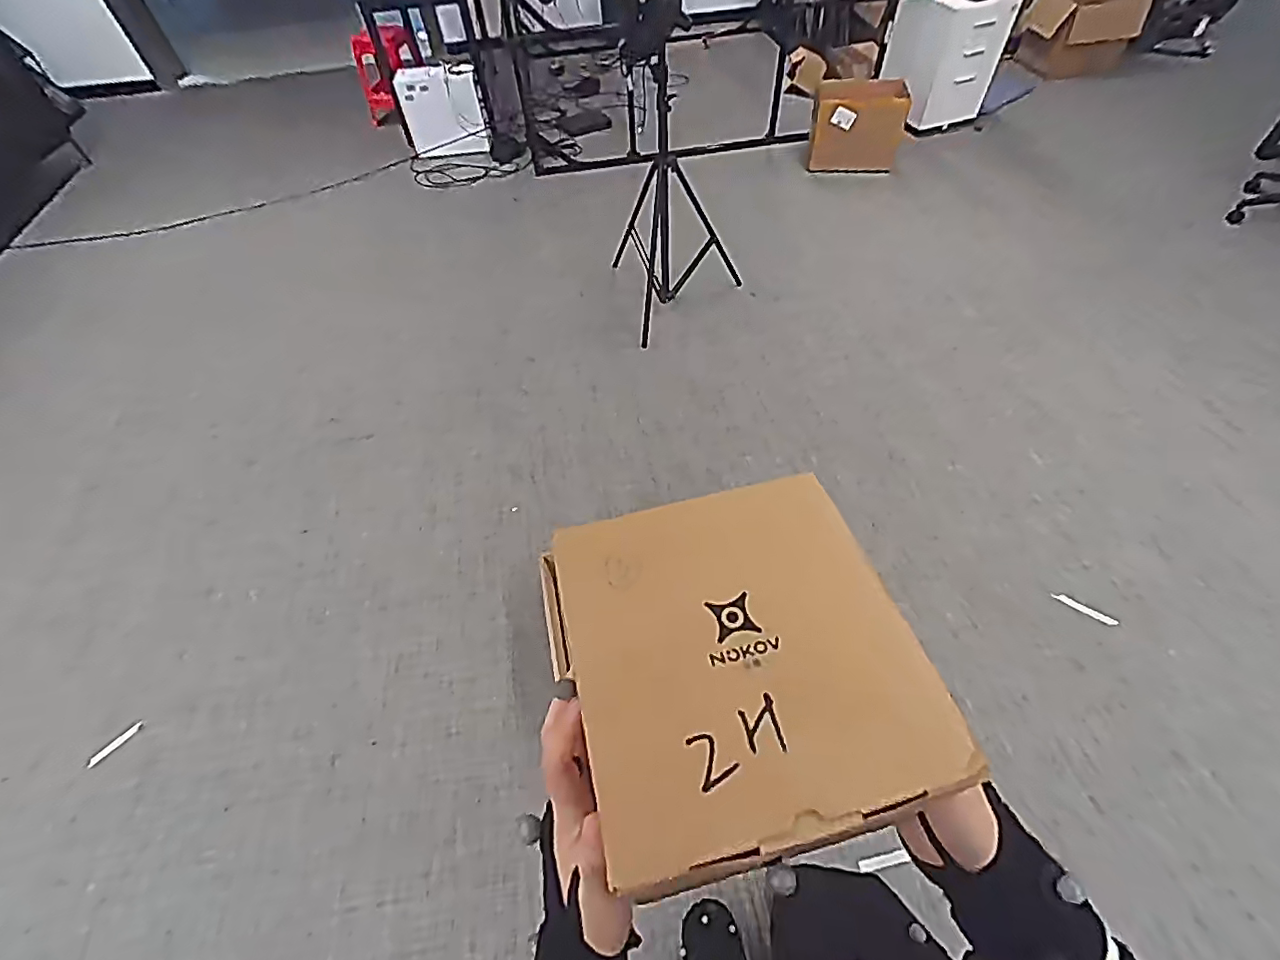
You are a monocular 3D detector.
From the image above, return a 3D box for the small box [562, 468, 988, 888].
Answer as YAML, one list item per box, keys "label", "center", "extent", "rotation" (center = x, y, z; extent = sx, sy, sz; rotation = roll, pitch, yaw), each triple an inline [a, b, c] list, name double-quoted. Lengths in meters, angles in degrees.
- label: "small box"
  center: [0.054, 0.123, 0.335]
  extent: [0.168, 0.176, 0.179]
  rotation: [-13, 52, -6]
